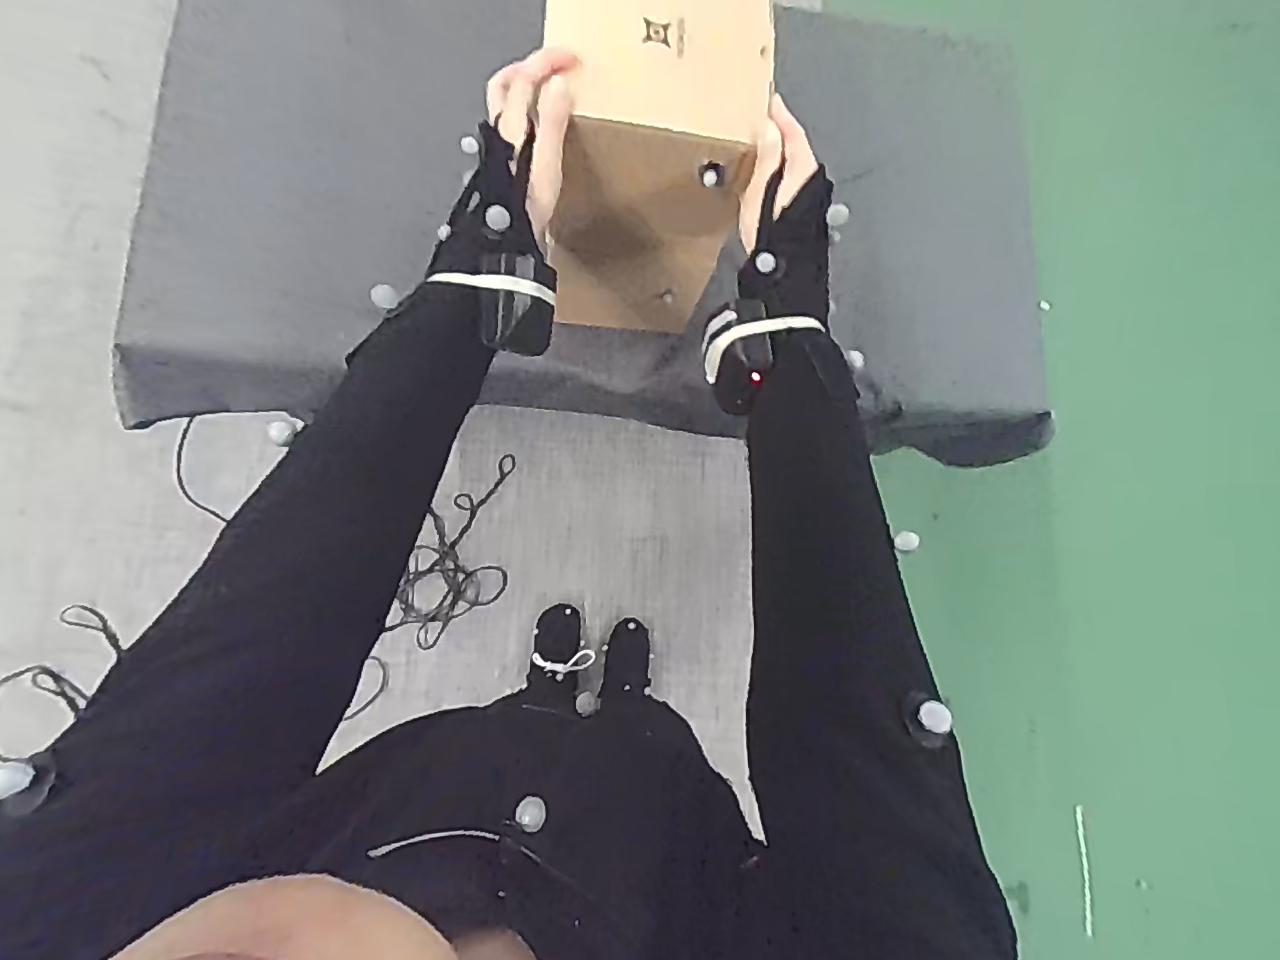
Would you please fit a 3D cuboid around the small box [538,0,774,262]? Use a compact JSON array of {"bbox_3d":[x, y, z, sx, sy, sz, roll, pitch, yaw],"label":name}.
[{"bbox_3d":[0.006,-0.318,0.483,0.179,0.176,0.168,3,80,-9],"label":"small box"}]
